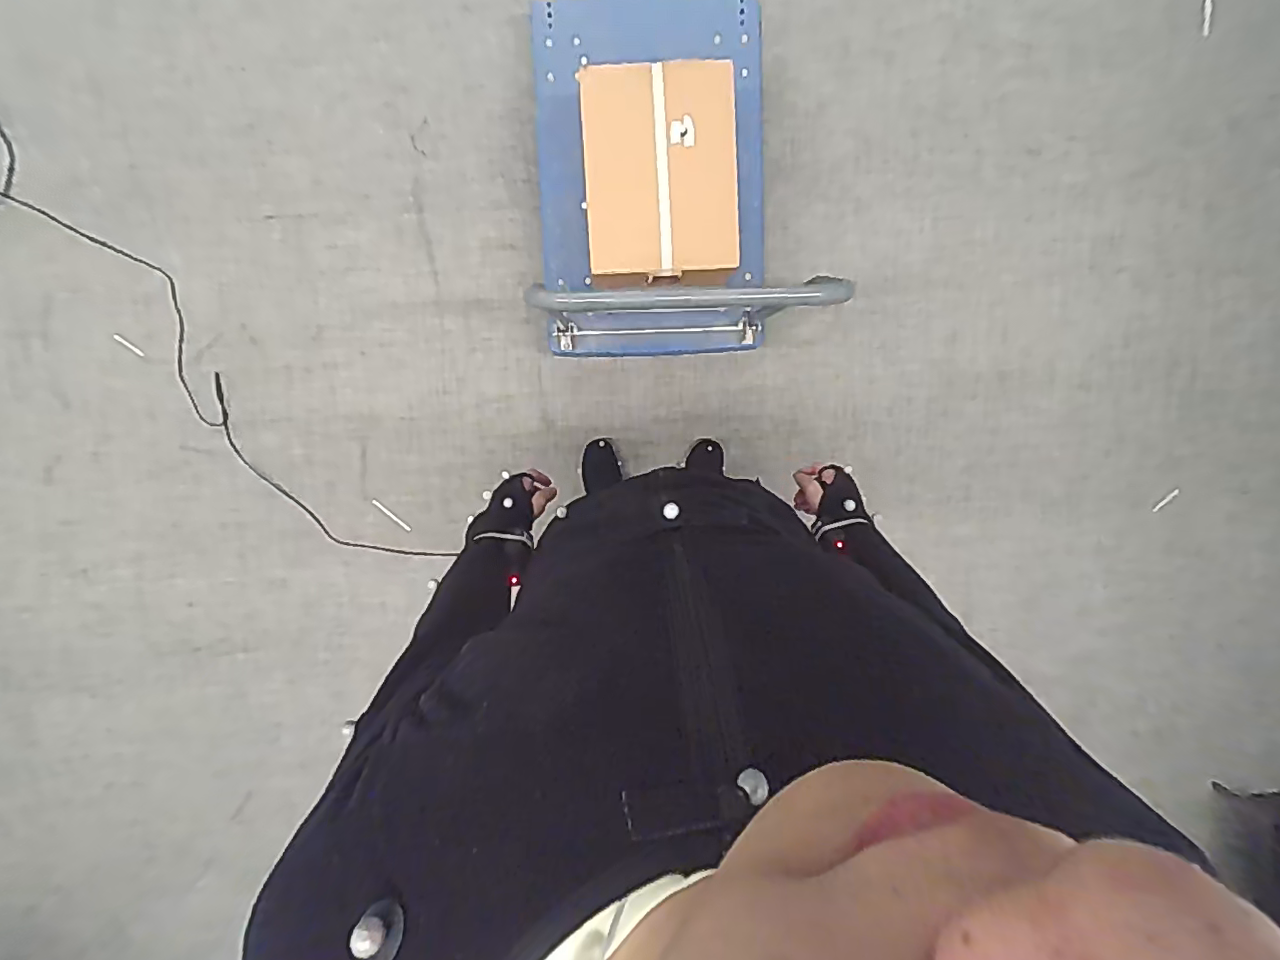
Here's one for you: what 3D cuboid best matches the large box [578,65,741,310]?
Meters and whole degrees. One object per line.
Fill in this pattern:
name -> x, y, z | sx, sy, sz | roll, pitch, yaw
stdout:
large box -> 0.041, -0.638, 1.249 | 0.320, 0.320, 0.408 | -4, 95, -2
